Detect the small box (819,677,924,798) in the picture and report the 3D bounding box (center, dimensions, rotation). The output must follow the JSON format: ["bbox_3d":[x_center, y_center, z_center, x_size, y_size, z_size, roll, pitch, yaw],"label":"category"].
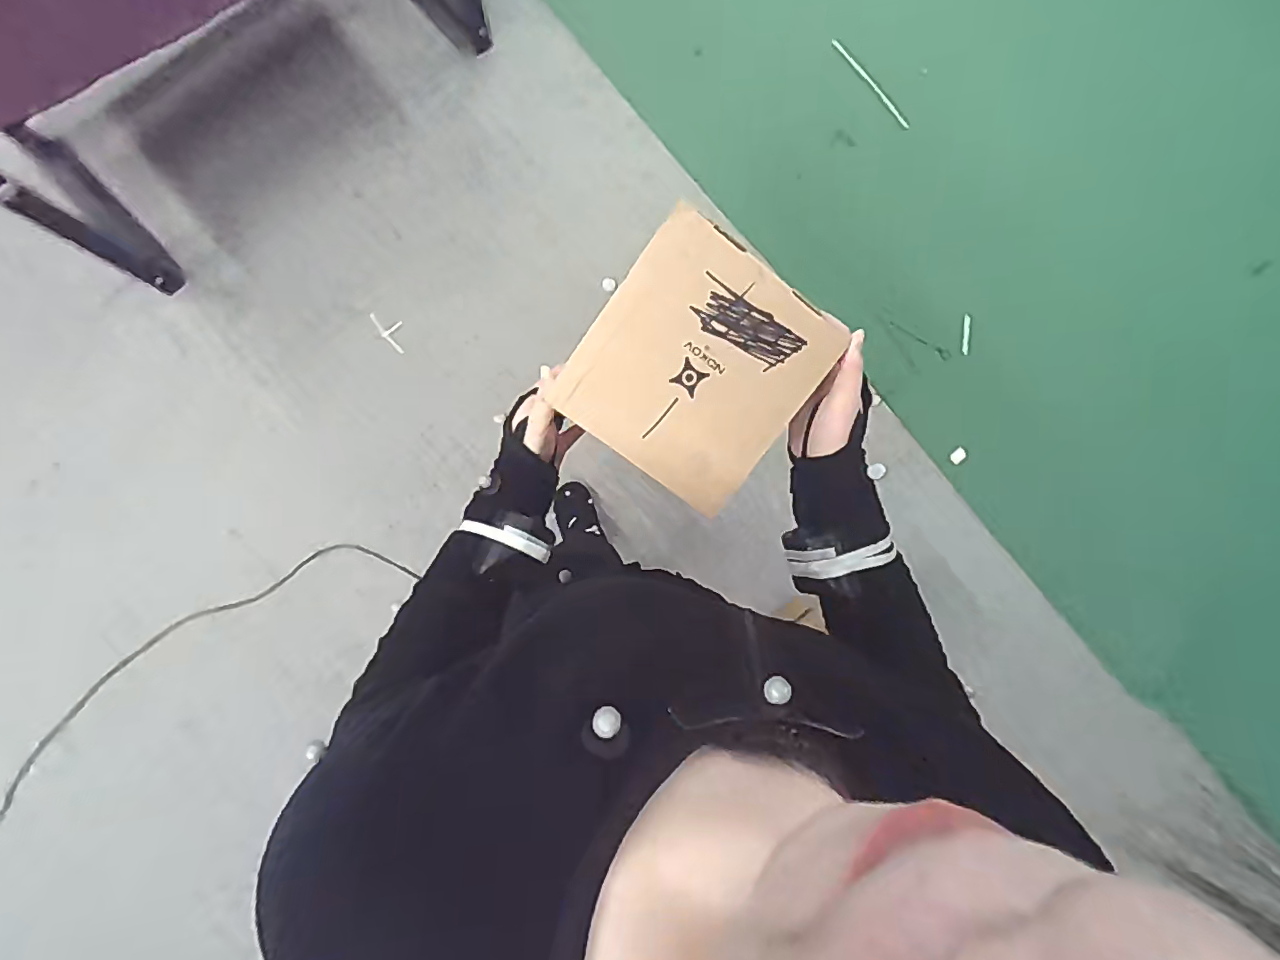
[{"bbox_3d":[0.506,0.533,1.121,0.168,0.176,0.179,-35,91,-7],"label":"small box"}]

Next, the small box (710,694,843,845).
[{"bbox_3d":[0.266,0.572,1.096,0.168,0.176,0.179,-34,90,-7],"label":"small box"}]
